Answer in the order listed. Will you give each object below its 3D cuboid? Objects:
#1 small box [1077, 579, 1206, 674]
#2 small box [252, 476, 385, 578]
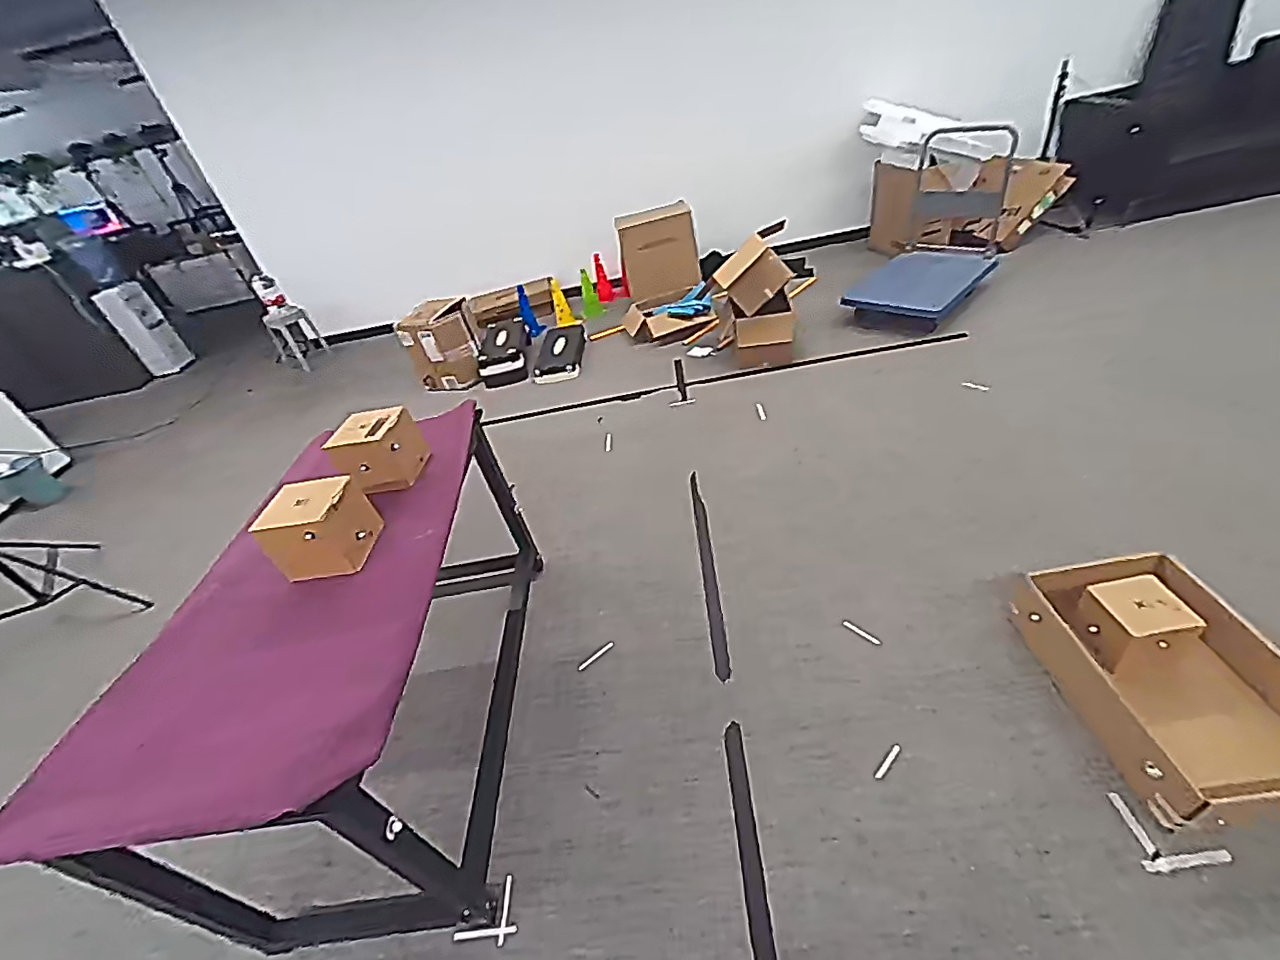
[{"bbox_3d":[1.304,0.390,1.427,0.179,0.176,0.168,-11,39,3],"label":"small box"},{"bbox_3d":[-0.745,0.114,1.275,0.179,0.176,0.168,-8,38,6],"label":"small box"}]
